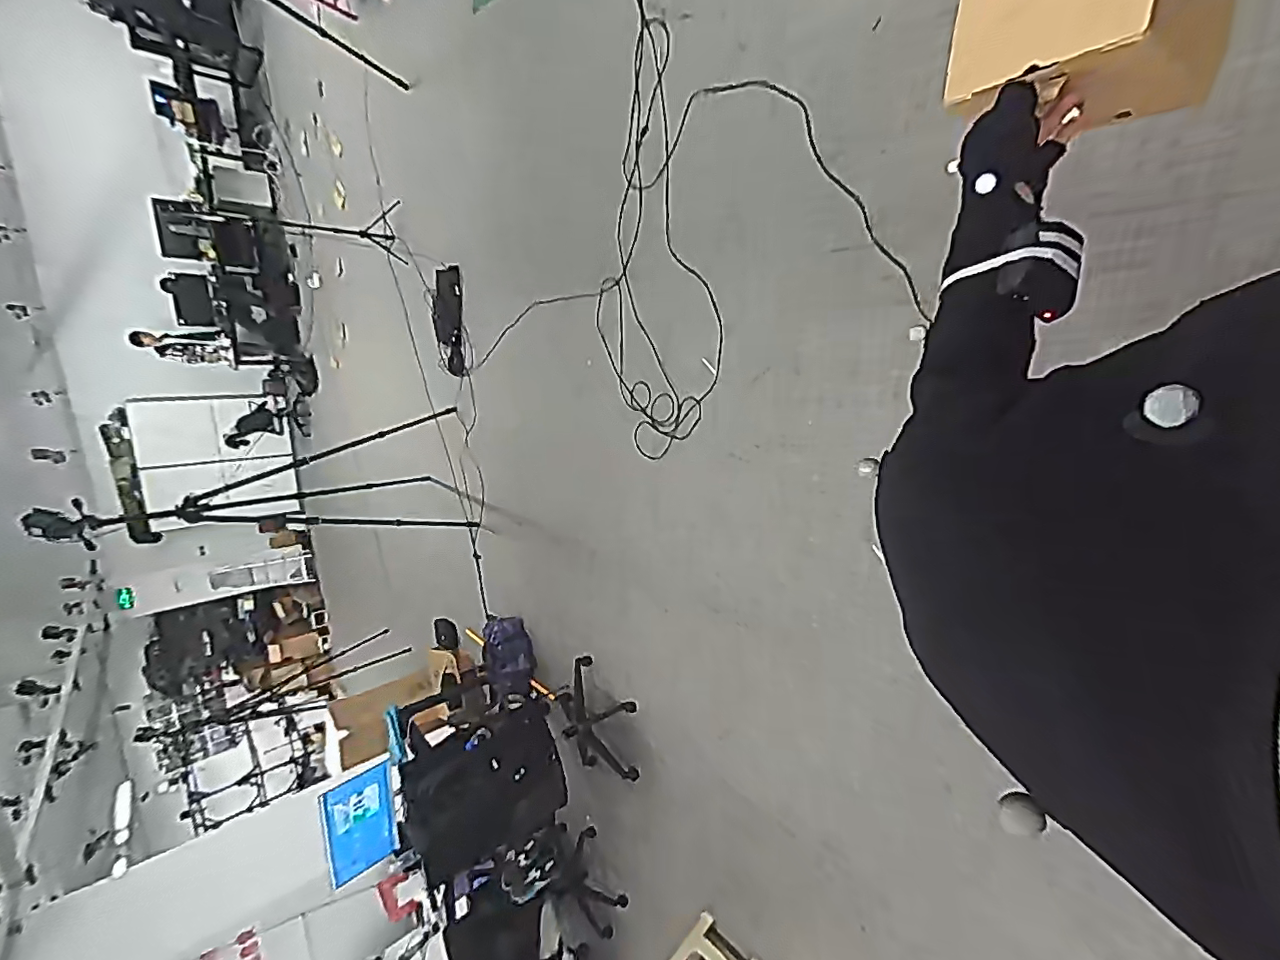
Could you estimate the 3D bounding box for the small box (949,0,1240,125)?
[{"bbox_3d":[0.430,-0.459,0.505,0.168,0.176,0.179,25,115,56],"label":"small box"}]
